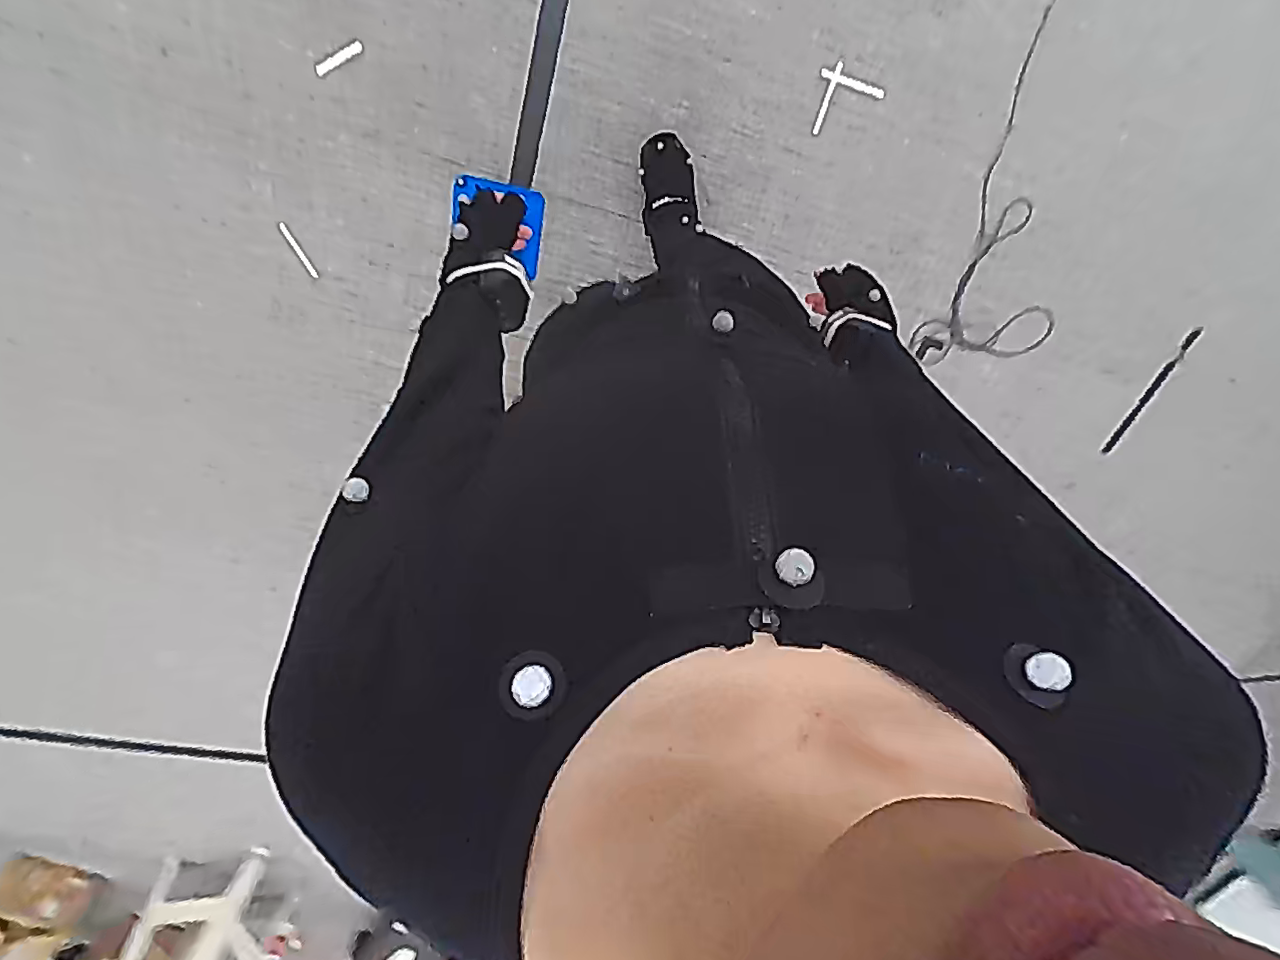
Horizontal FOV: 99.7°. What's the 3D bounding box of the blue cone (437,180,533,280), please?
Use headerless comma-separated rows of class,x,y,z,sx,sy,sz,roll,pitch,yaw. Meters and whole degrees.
blue cone,-0.334,-0.497,1.091,0.192,0.380,0.193,10,114,-10
